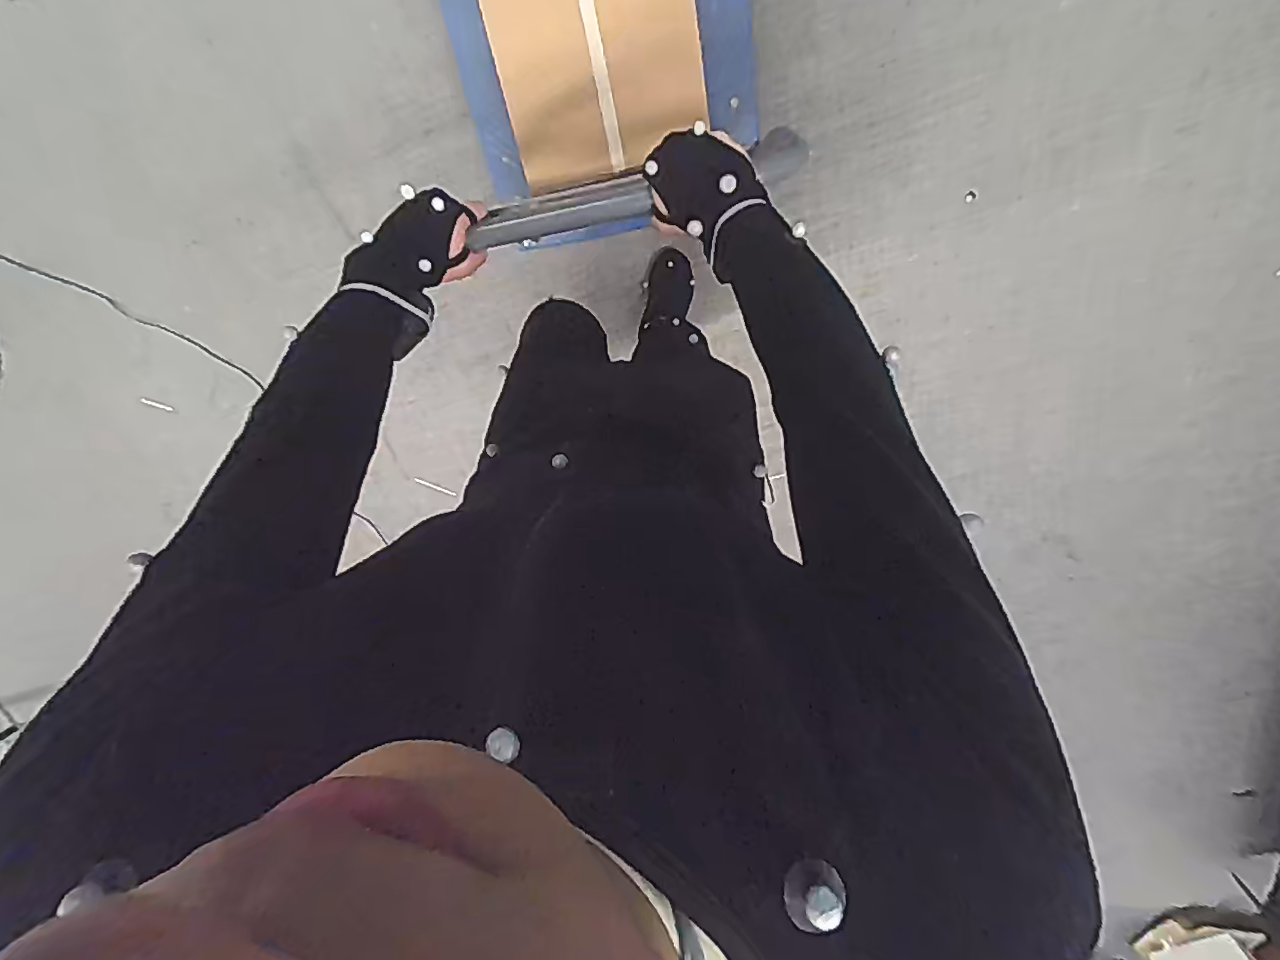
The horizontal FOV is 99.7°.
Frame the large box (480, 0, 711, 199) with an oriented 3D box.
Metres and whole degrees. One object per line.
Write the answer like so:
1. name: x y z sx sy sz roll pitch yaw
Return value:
1. large box: -0.064 -0.751 0.950 0.320 0.320 0.408 -9 118 8
